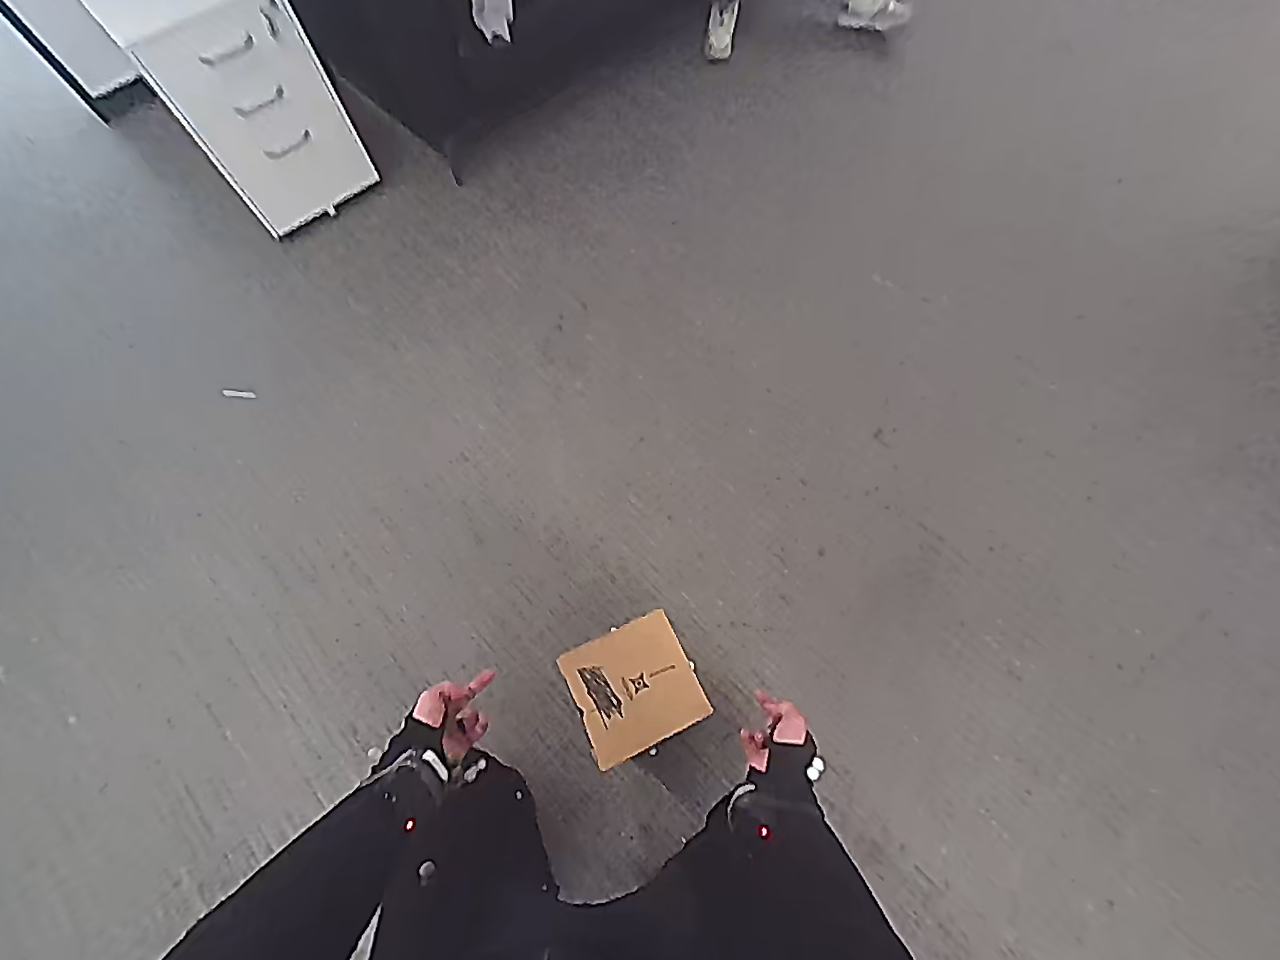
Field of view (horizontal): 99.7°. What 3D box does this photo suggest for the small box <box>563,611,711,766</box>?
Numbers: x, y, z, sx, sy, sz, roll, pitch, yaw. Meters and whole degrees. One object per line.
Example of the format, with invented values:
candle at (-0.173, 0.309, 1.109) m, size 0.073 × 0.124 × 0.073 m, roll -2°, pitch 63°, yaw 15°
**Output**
small box at (-0.004, 0.326, 0.849) m, size 0.179 × 0.176 × 0.168 m, roll -20°, pitch 68°, yaw -7°
